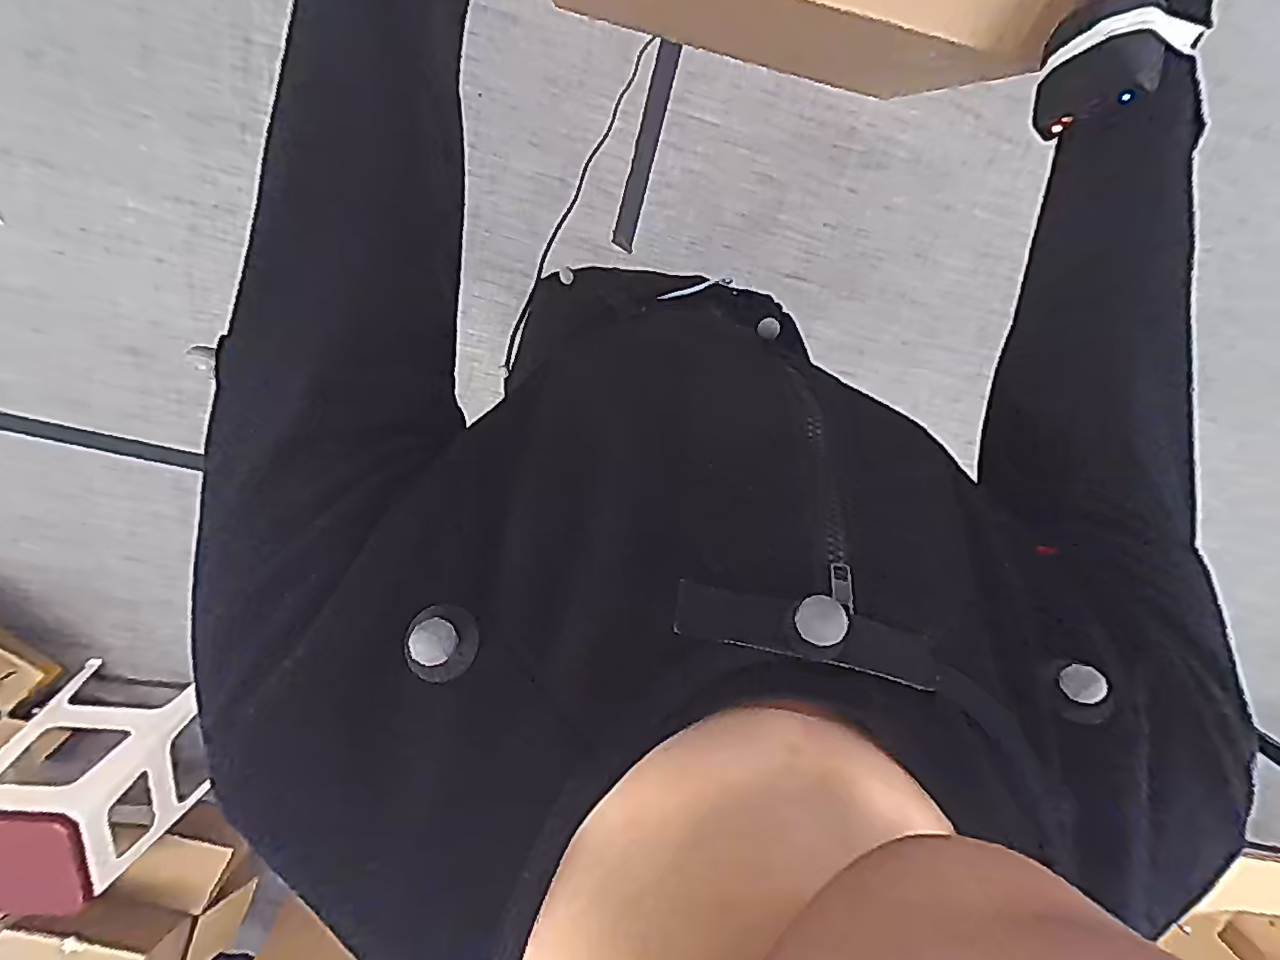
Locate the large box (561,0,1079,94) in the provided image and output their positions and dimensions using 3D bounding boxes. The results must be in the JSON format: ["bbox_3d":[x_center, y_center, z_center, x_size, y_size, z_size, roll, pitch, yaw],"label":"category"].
[{"bbox_3d":[0.136,-0.545,0.425,0.408,0.320,0.320,10,122,-7],"label":"large box"}]
